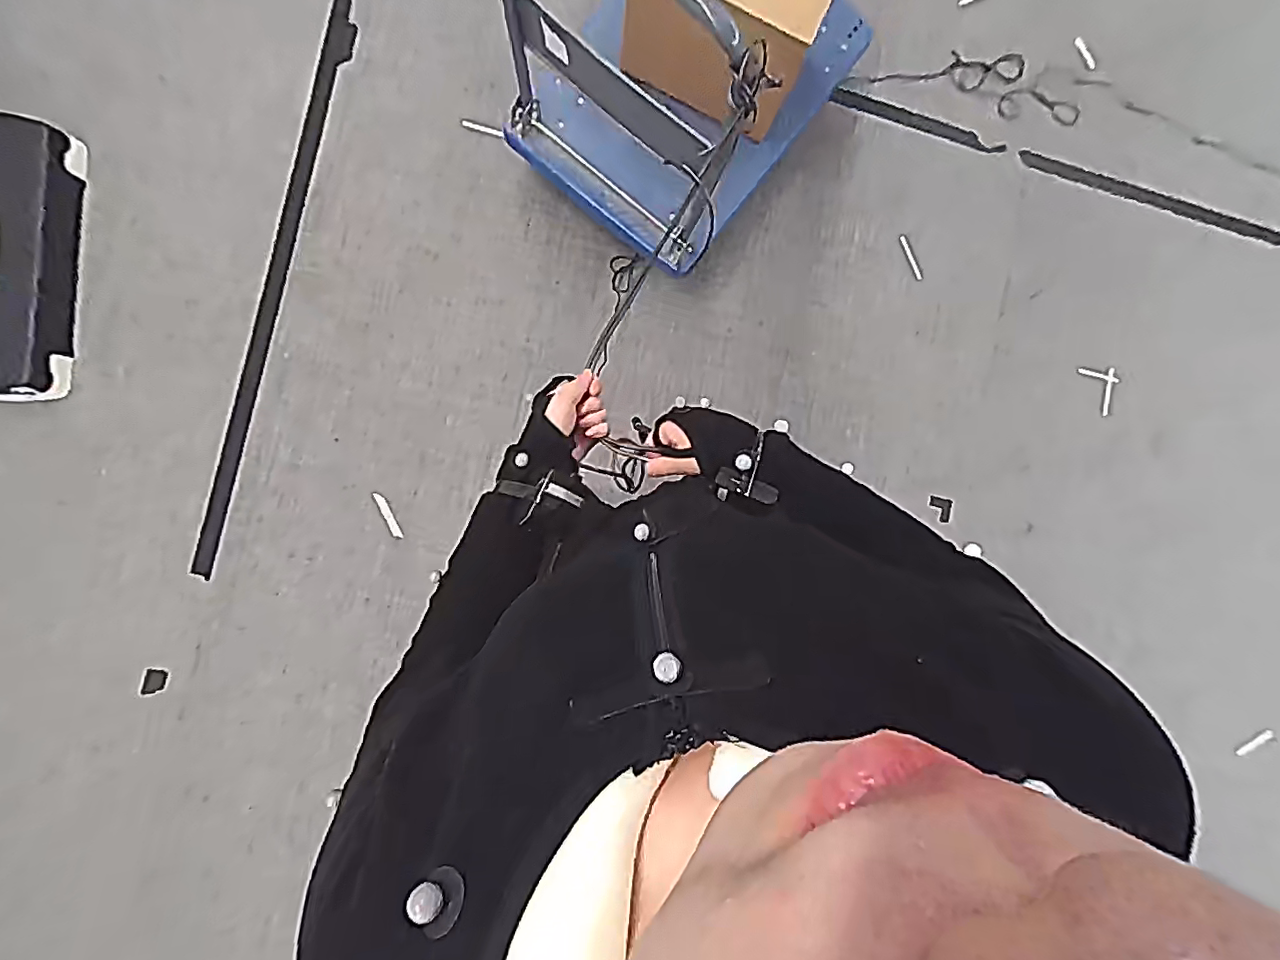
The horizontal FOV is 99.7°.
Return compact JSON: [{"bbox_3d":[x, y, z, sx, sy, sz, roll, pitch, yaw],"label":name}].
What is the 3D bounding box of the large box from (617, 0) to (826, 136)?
[{"bbox_3d":[0.195,-1.091,1.223,0.408,0.320,0.320,23,87,-6],"label":"large box"}]
